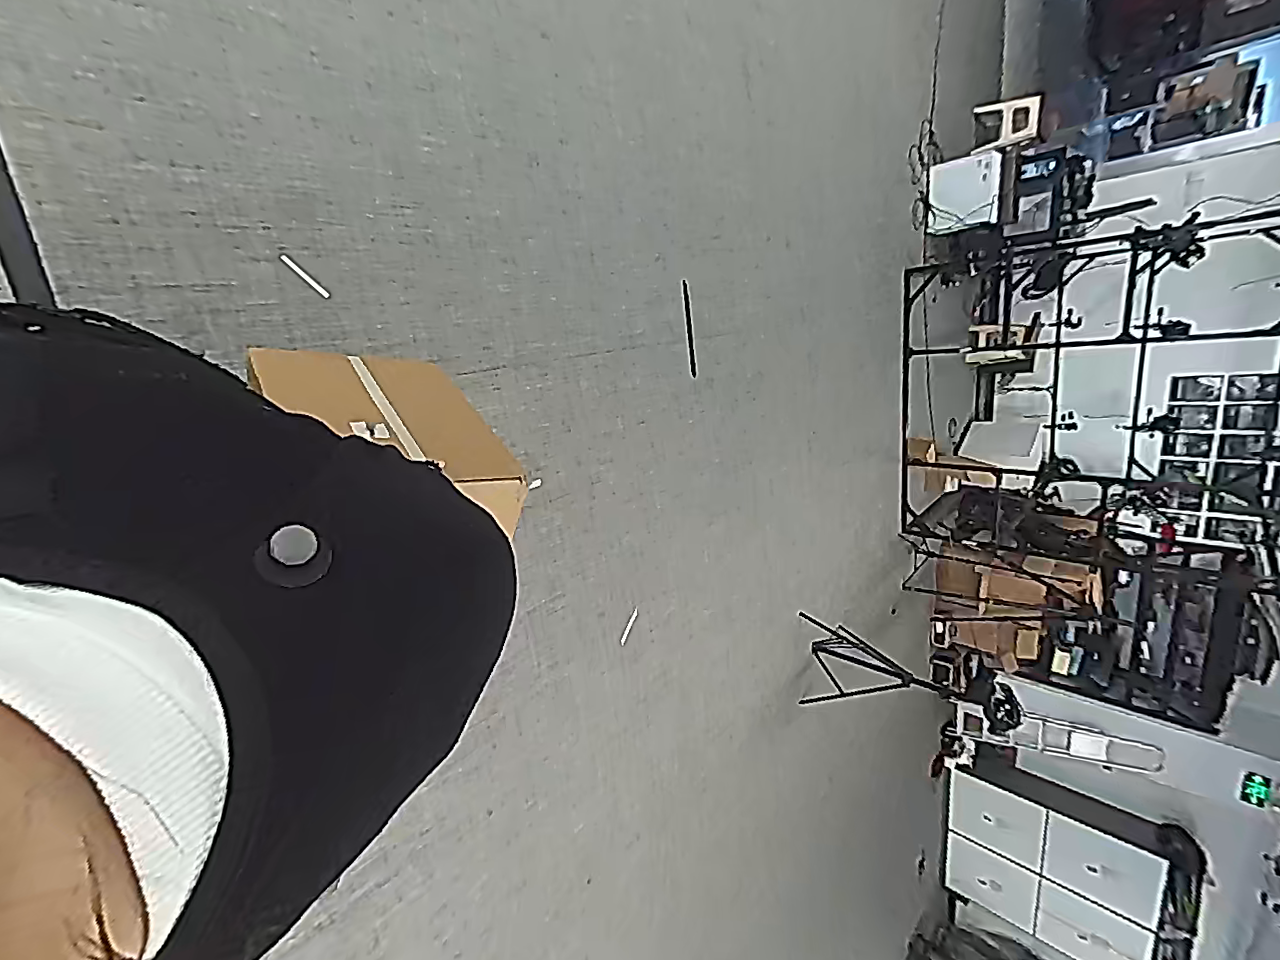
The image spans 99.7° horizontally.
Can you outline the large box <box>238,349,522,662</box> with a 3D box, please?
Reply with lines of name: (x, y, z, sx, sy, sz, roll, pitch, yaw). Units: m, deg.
large box: (-0.461, 0.022, 0.916, 0.320, 0.408, 0.320, -5, 130, -42)
